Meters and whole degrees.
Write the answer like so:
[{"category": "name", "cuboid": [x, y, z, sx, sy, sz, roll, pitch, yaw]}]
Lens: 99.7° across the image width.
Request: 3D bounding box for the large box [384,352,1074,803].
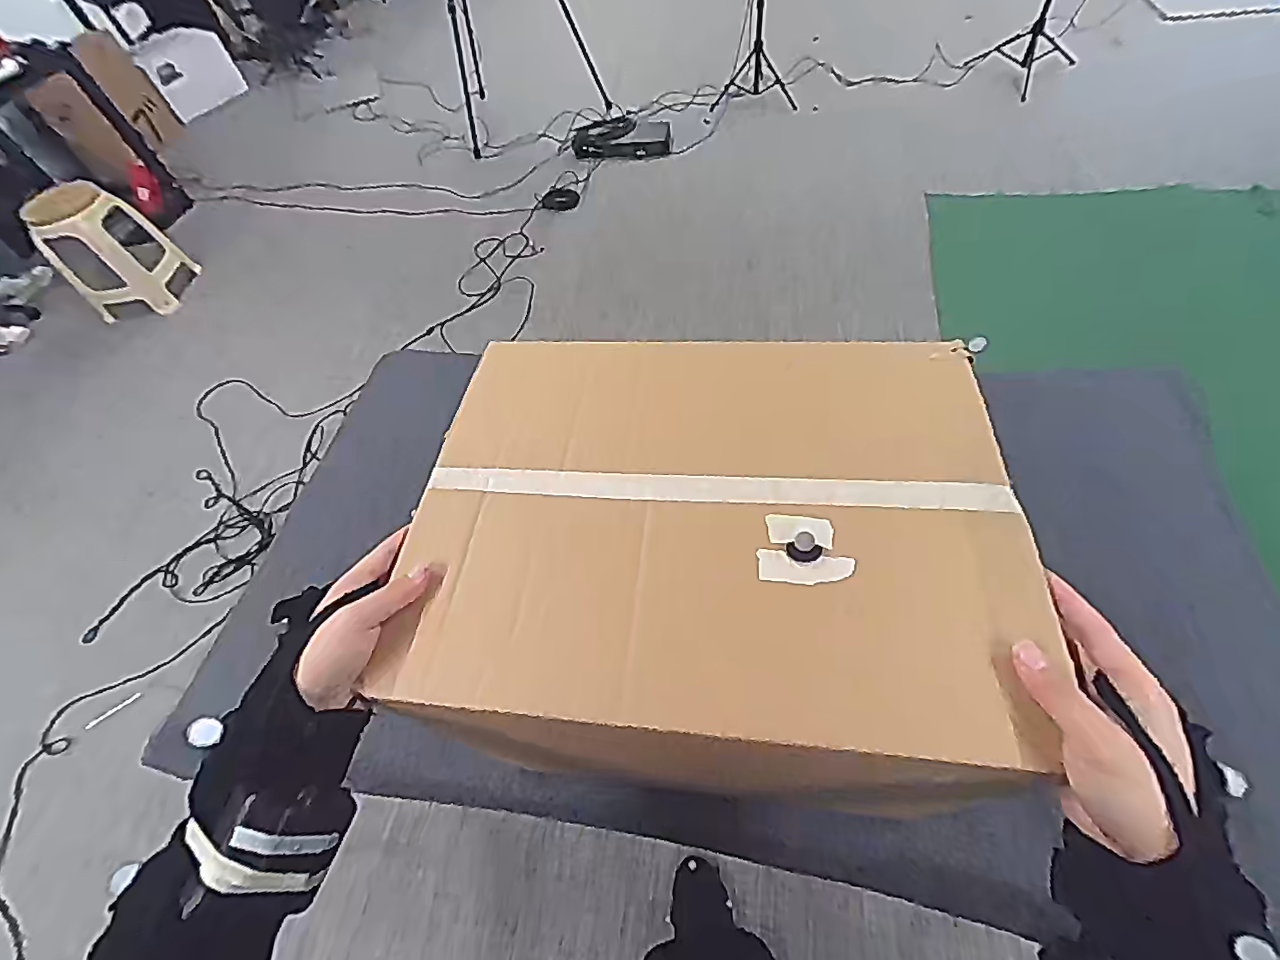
[{"category": "large box", "cuboid": [0.061, 0.097, 0.514, 0.408, 0.320, 0.320, 2, 56, 8]}]
